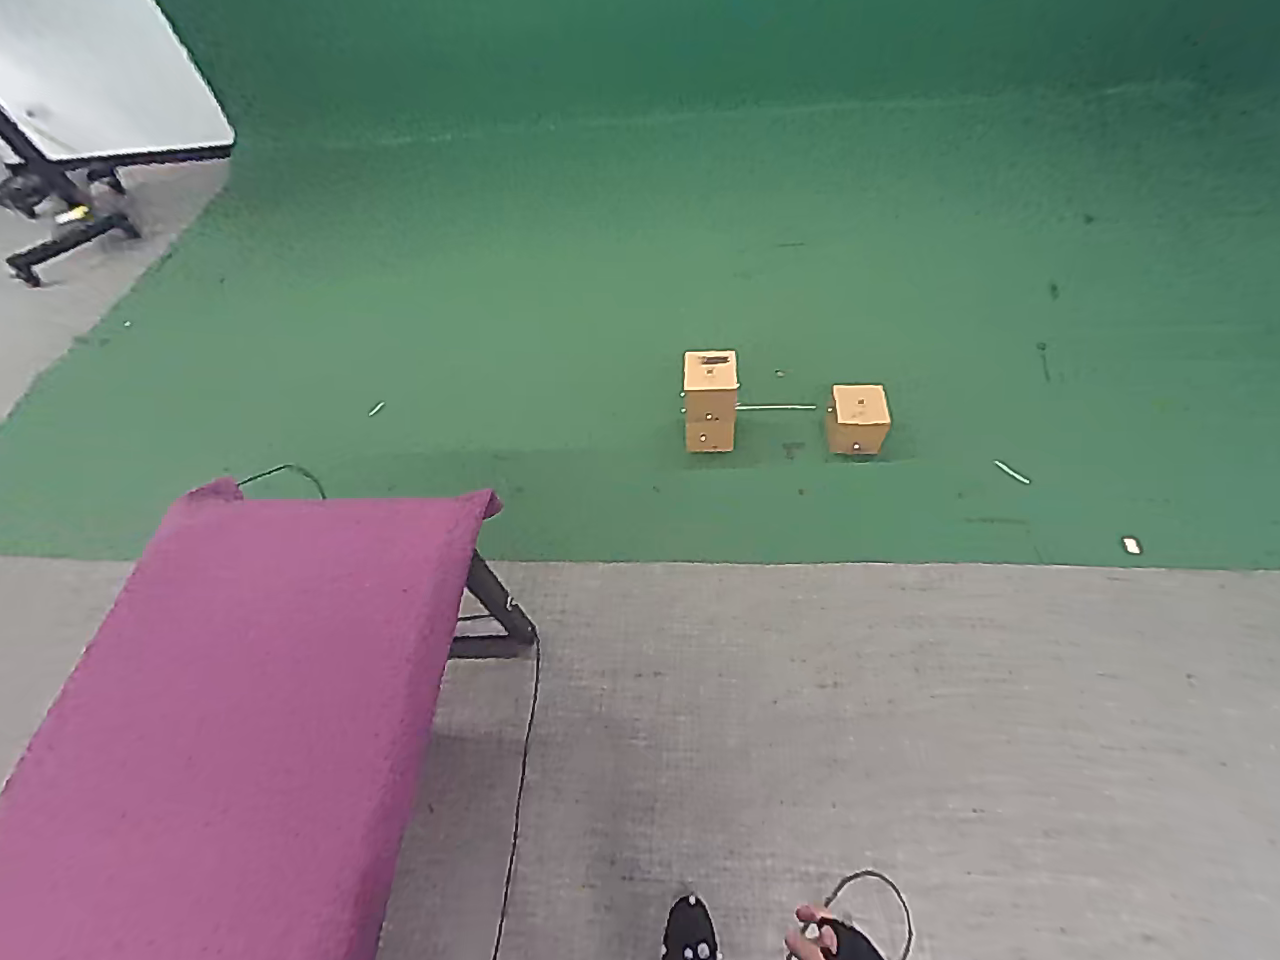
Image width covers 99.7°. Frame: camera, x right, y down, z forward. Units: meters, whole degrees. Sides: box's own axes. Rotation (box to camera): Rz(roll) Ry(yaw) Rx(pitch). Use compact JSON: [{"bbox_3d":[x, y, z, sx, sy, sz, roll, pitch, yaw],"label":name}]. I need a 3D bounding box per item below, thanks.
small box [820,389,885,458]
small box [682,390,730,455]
[{"bbox_3d":[0.739,-0.197,1.899,0.168,0.176,0.179,1,56,6],"label":"small box"},{"bbox_3d":[0.239,-0.203,1.955,0.168,0.176,0.179,0,55,6],"label":"small box"}]
